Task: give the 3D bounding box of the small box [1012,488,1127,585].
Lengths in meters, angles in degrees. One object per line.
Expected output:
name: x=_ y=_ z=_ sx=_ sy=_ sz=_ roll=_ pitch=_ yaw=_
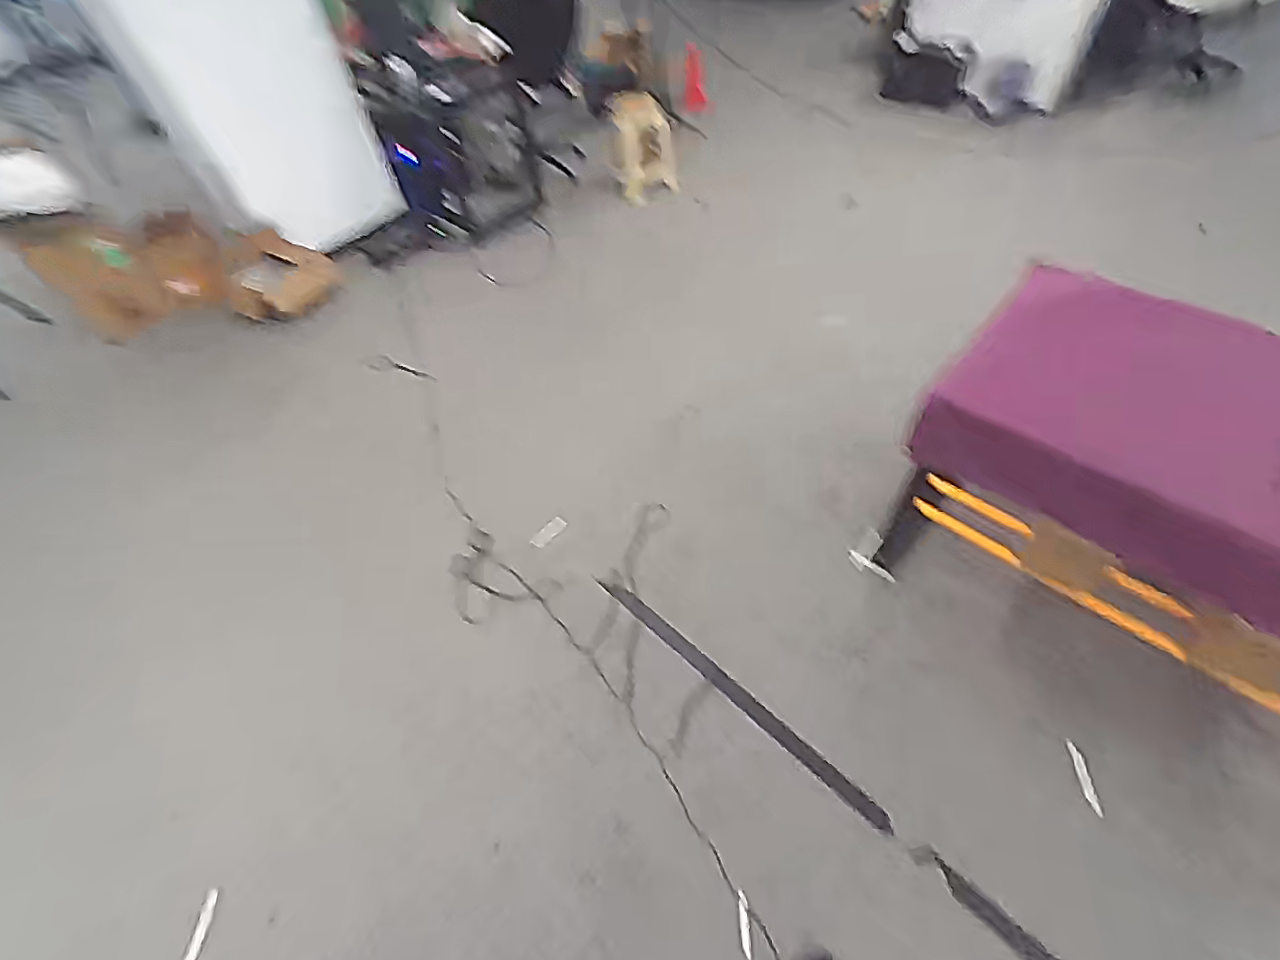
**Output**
small box: x=1.177 y=0.161 z=1.495 sx=0.179 sy=0.176 sz=0.168 roll=33 pitch=63 yaw=25
